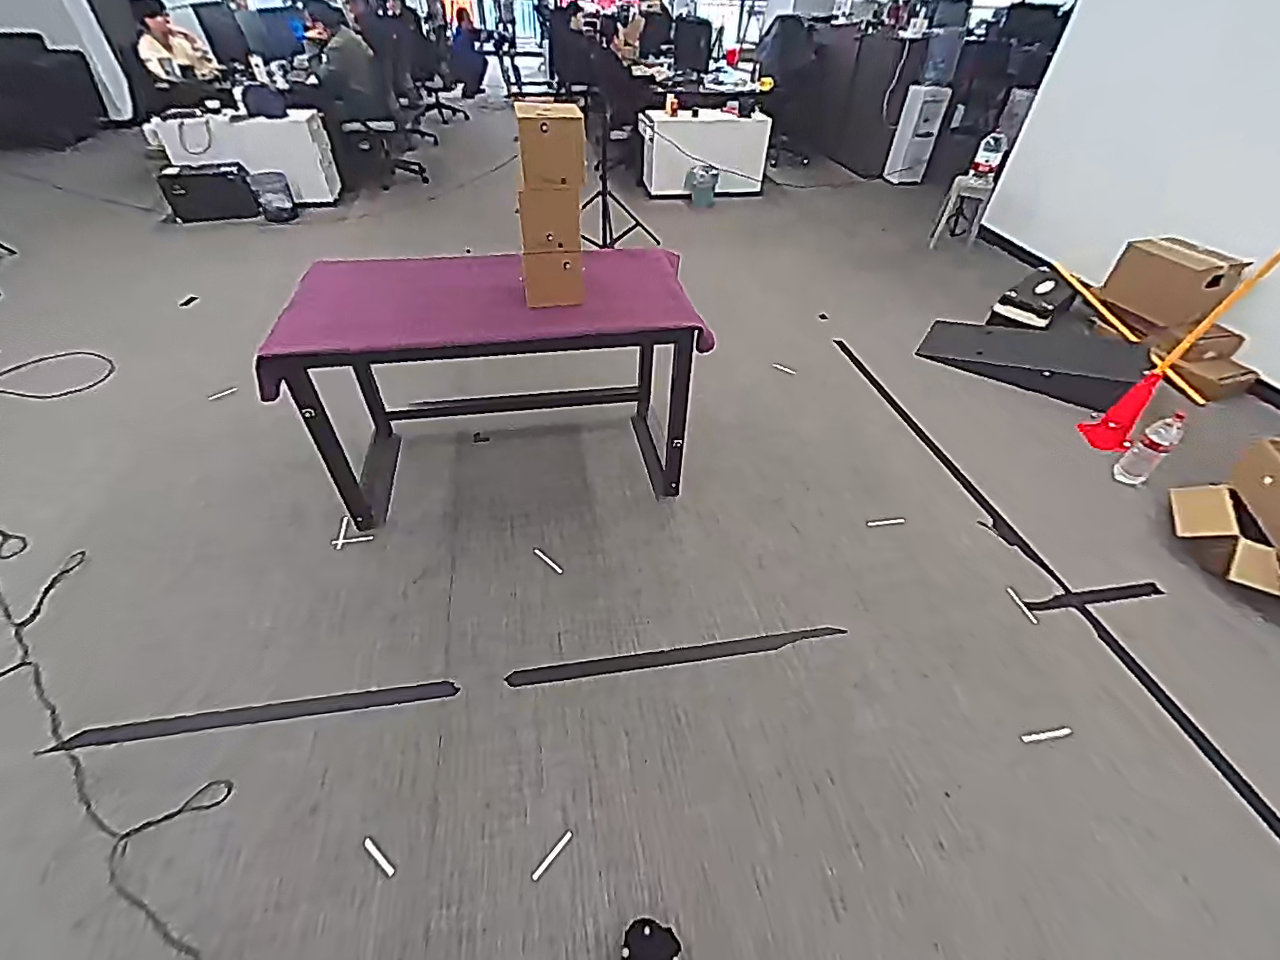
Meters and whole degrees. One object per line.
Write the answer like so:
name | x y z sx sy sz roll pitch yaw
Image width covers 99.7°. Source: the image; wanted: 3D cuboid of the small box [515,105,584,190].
small box | -0.242 -0.890 1.446 0.168 0.176 0.179 -7 44 -10

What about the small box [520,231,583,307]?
small box | -0.270 -0.650 1.669 0.179 0.176 0.168 -8 44 -9
